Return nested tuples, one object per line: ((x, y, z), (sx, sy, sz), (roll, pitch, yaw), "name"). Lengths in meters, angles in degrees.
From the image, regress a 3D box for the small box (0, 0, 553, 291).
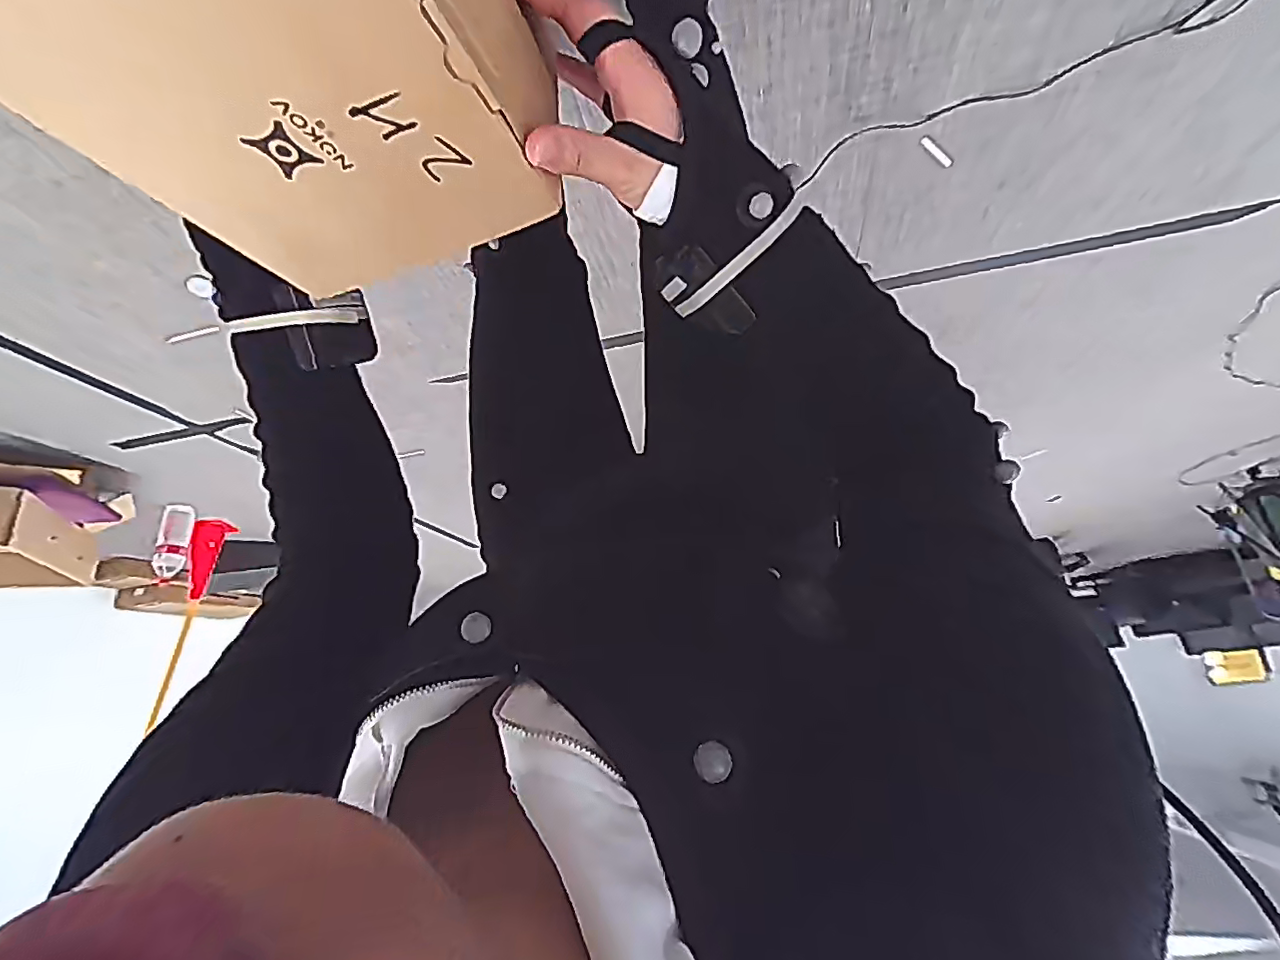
((-0.156, -0.229, 0.264), (0.179, 0.176, 0.168), (-10, 163, 17), "small box")
